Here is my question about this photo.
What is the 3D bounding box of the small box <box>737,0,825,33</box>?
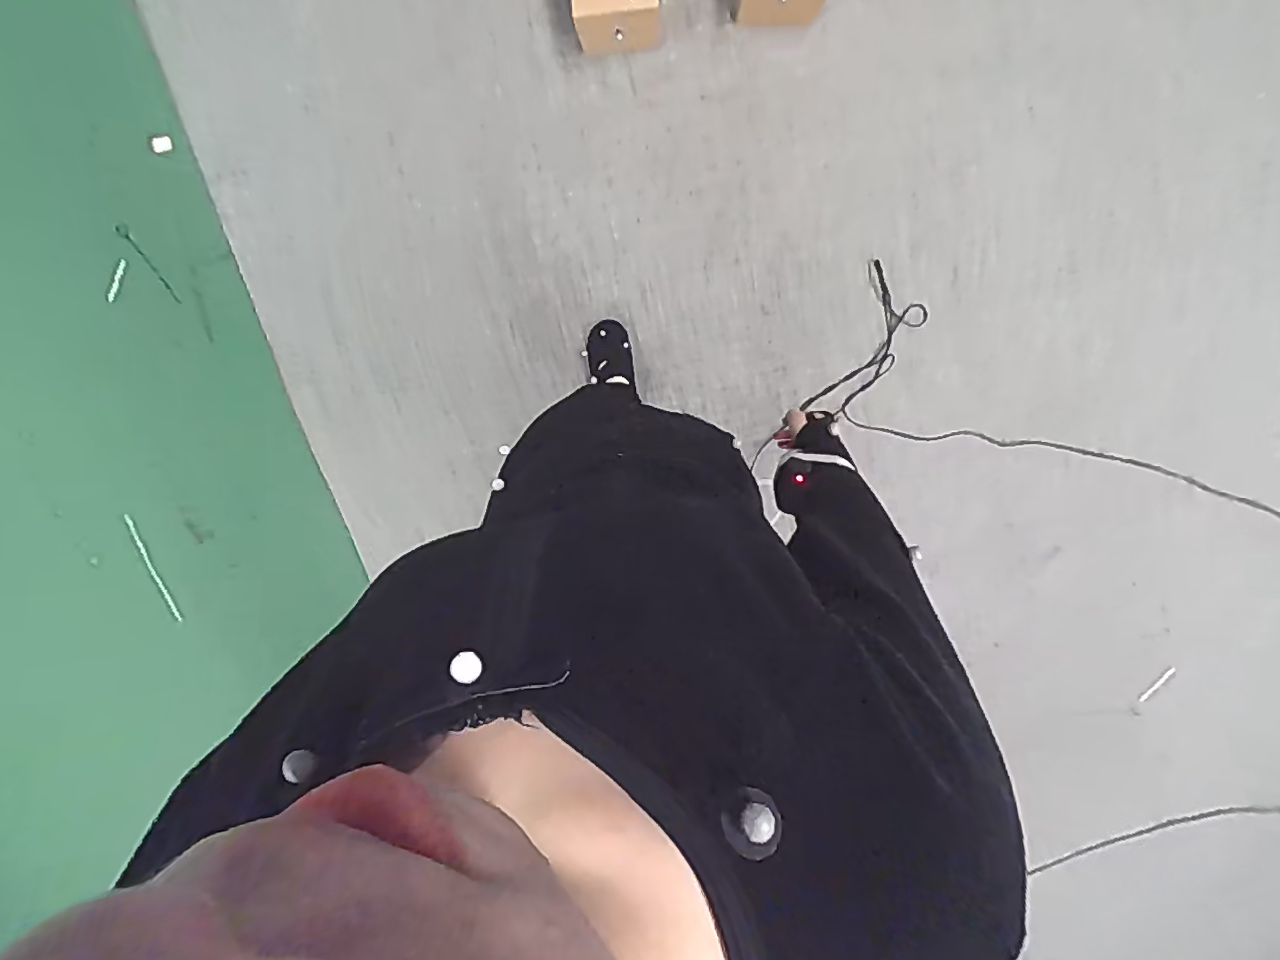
[{"bbox_3d":[0.297,-1.051,1.101,0.179,0.176,0.168,3,106,2],"label":"small box"}]
